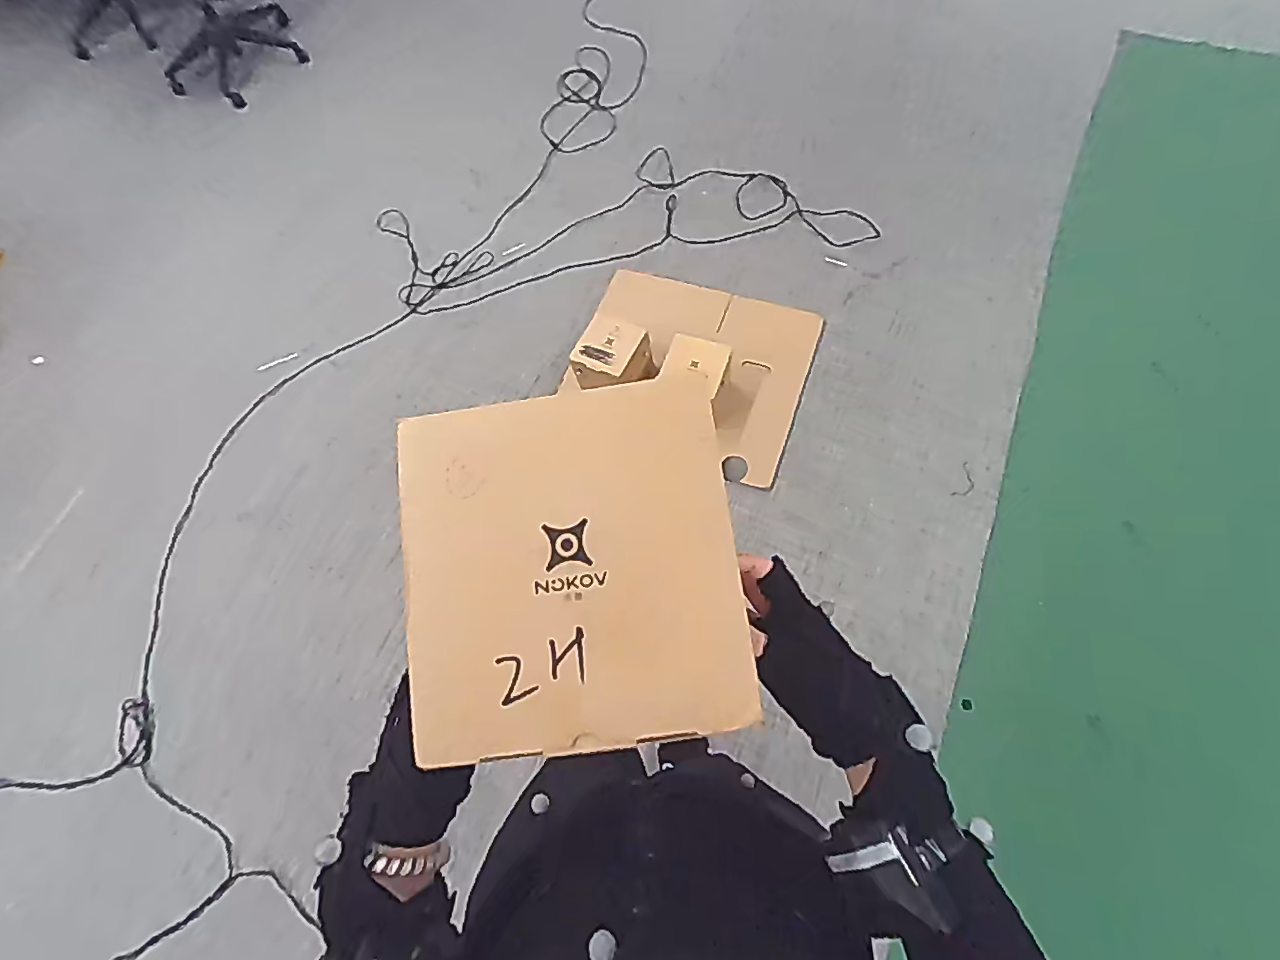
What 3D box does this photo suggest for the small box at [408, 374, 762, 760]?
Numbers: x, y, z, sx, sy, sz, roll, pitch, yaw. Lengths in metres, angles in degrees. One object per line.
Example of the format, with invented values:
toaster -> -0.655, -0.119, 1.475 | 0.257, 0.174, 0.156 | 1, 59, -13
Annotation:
small box -> -0.028, 0.053, 0.345 | 0.168, 0.176, 0.179 | -8, 80, 4

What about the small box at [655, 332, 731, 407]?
small box -> 0.149, -0.281, 1.521 | 0.168, 0.176, 0.179 | 17, 72, 12
